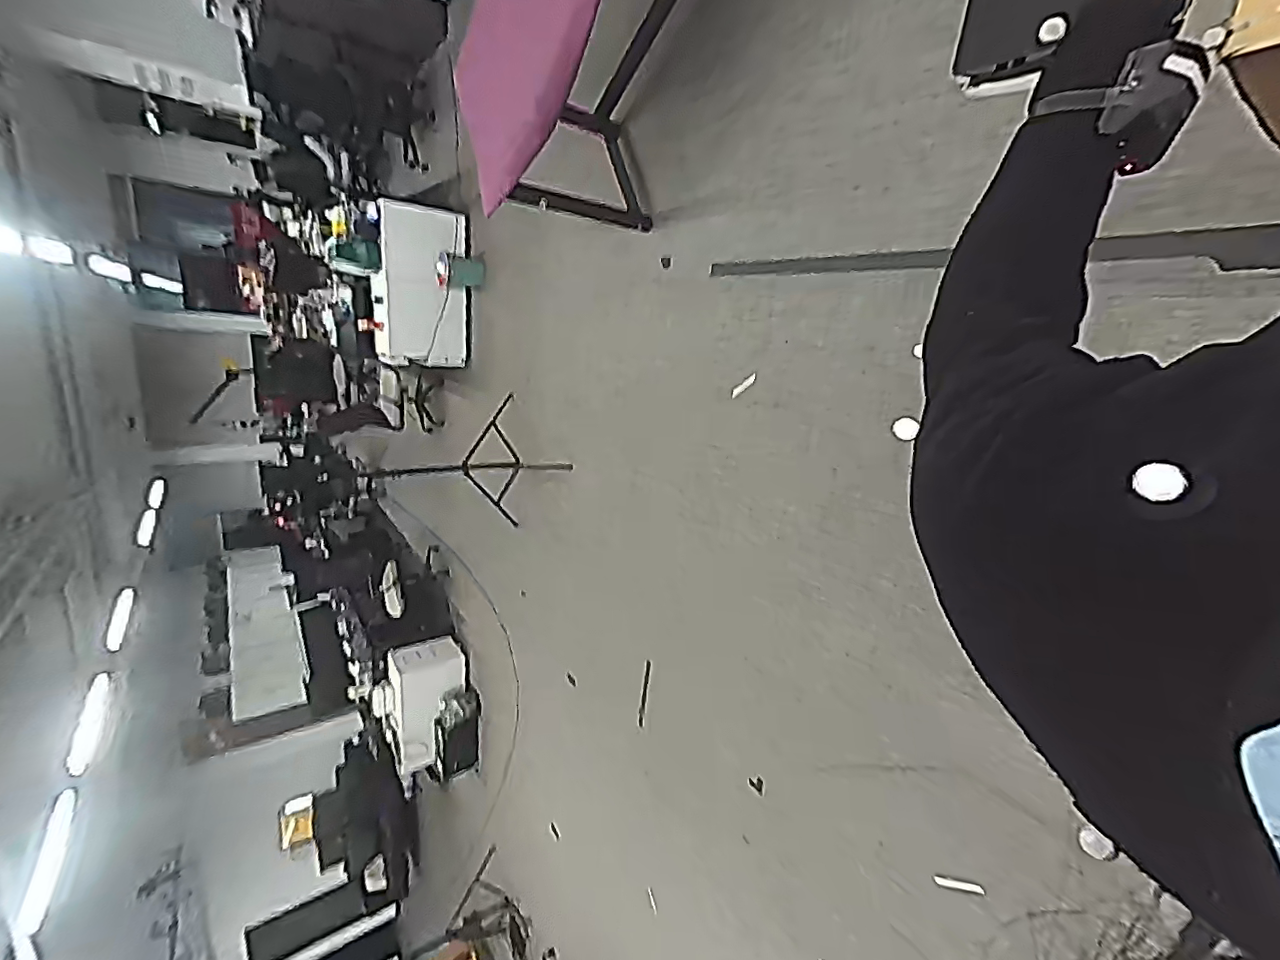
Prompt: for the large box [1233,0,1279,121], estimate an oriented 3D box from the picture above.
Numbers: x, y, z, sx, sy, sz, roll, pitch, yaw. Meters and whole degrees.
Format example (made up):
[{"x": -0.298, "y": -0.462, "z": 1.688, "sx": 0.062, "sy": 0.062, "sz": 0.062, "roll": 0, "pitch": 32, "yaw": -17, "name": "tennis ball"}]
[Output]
[{"x": 0.639, "y": -0.412, "z": 0.257, "sx": 0.408, "sy": 0.320, "sz": 0.320, "roll": 19, "pitch": 111, "yaw": 53, "name": "large box"}]
